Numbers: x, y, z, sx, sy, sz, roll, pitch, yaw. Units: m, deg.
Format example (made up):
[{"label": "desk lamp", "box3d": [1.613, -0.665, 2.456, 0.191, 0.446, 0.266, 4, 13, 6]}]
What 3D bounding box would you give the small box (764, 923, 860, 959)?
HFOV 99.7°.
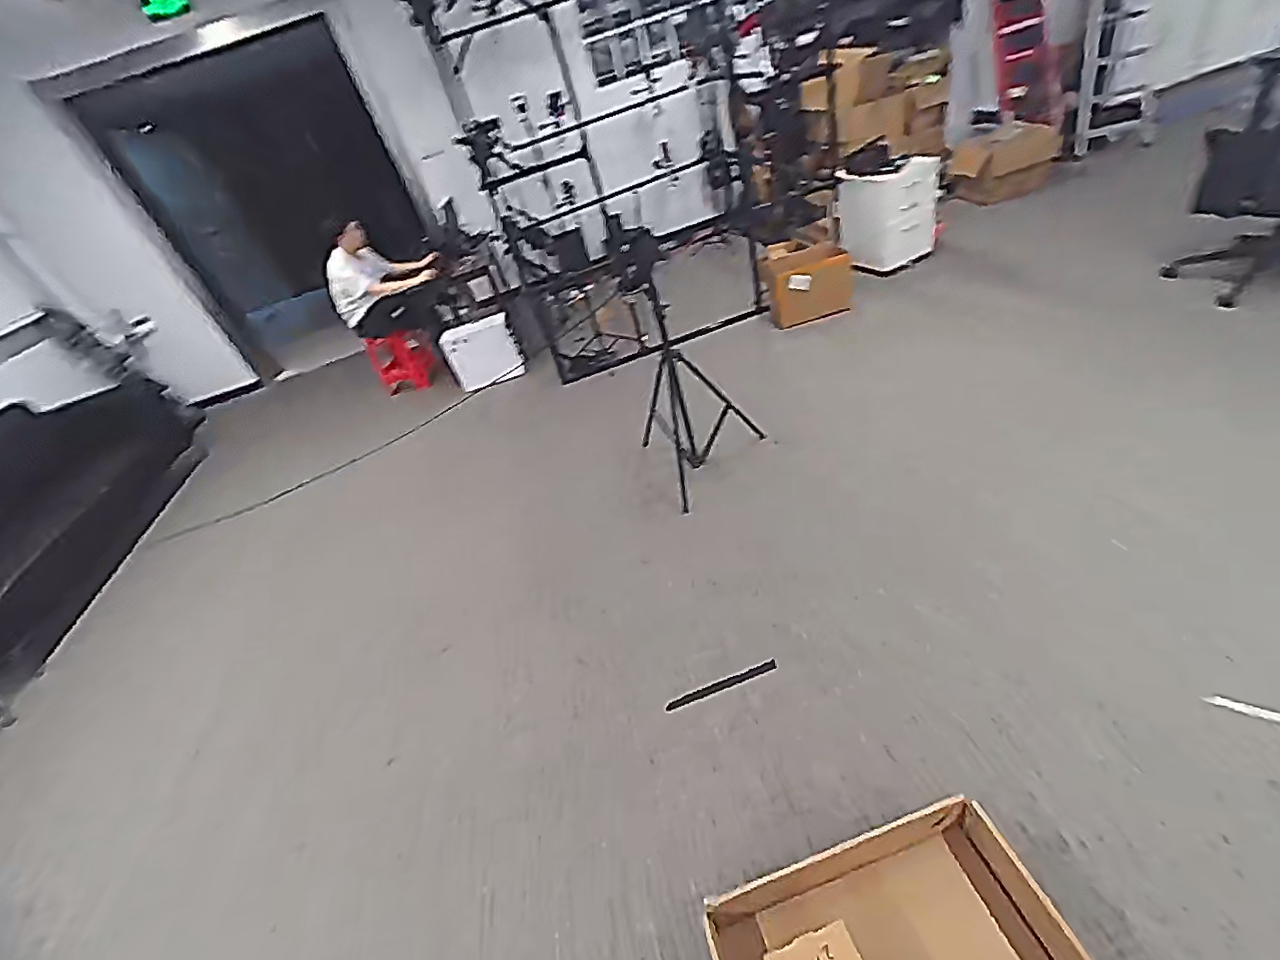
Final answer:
[{"label": "small box", "box3d": [0.346, 0.964, 0.985, 0.168, 0.176, 0.179, -21, 37, -5]}]
